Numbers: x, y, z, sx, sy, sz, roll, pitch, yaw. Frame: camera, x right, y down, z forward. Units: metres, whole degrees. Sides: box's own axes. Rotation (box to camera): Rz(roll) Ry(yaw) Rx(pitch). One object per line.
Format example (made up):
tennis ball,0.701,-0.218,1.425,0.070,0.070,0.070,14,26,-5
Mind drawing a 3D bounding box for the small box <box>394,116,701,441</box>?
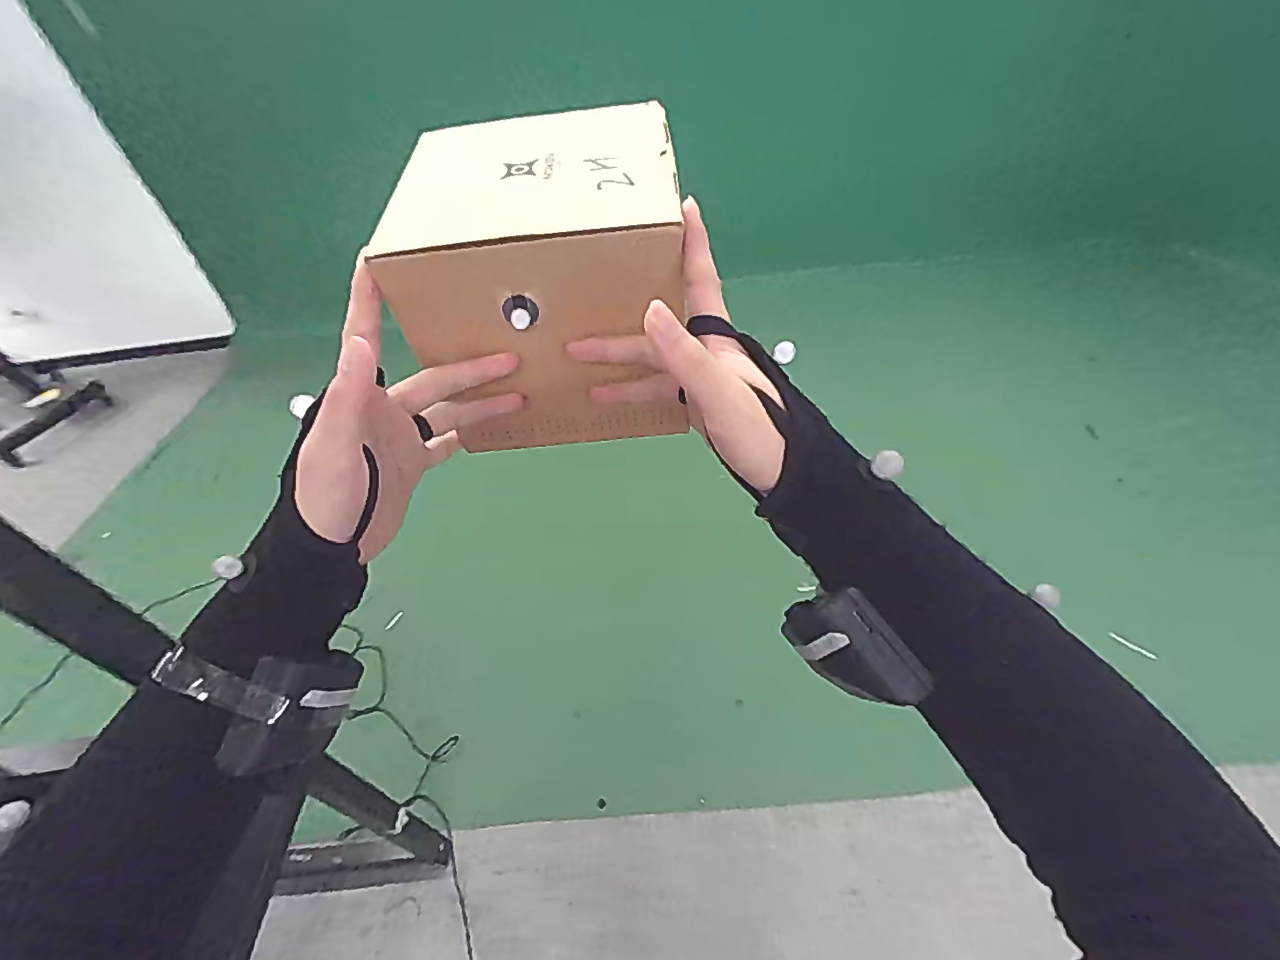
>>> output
small box,-0.047,-0.143,0.408,0.179,0.176,0.168,-4,52,2
